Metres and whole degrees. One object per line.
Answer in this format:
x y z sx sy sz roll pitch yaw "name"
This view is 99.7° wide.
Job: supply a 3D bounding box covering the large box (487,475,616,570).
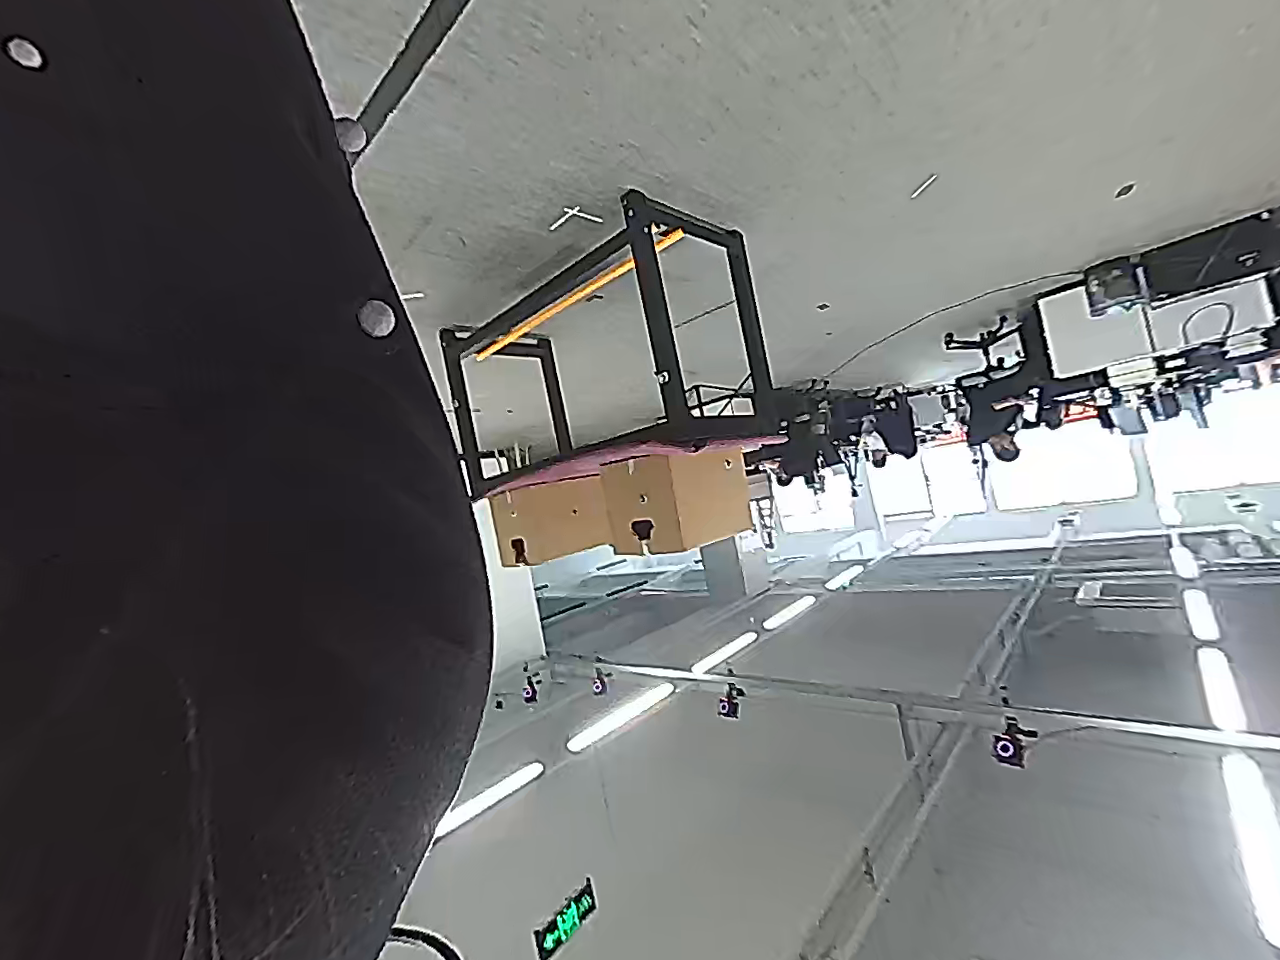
-0.378 0.174 2.308 0.320 0.320 0.408 -12 179 43 "large box"
